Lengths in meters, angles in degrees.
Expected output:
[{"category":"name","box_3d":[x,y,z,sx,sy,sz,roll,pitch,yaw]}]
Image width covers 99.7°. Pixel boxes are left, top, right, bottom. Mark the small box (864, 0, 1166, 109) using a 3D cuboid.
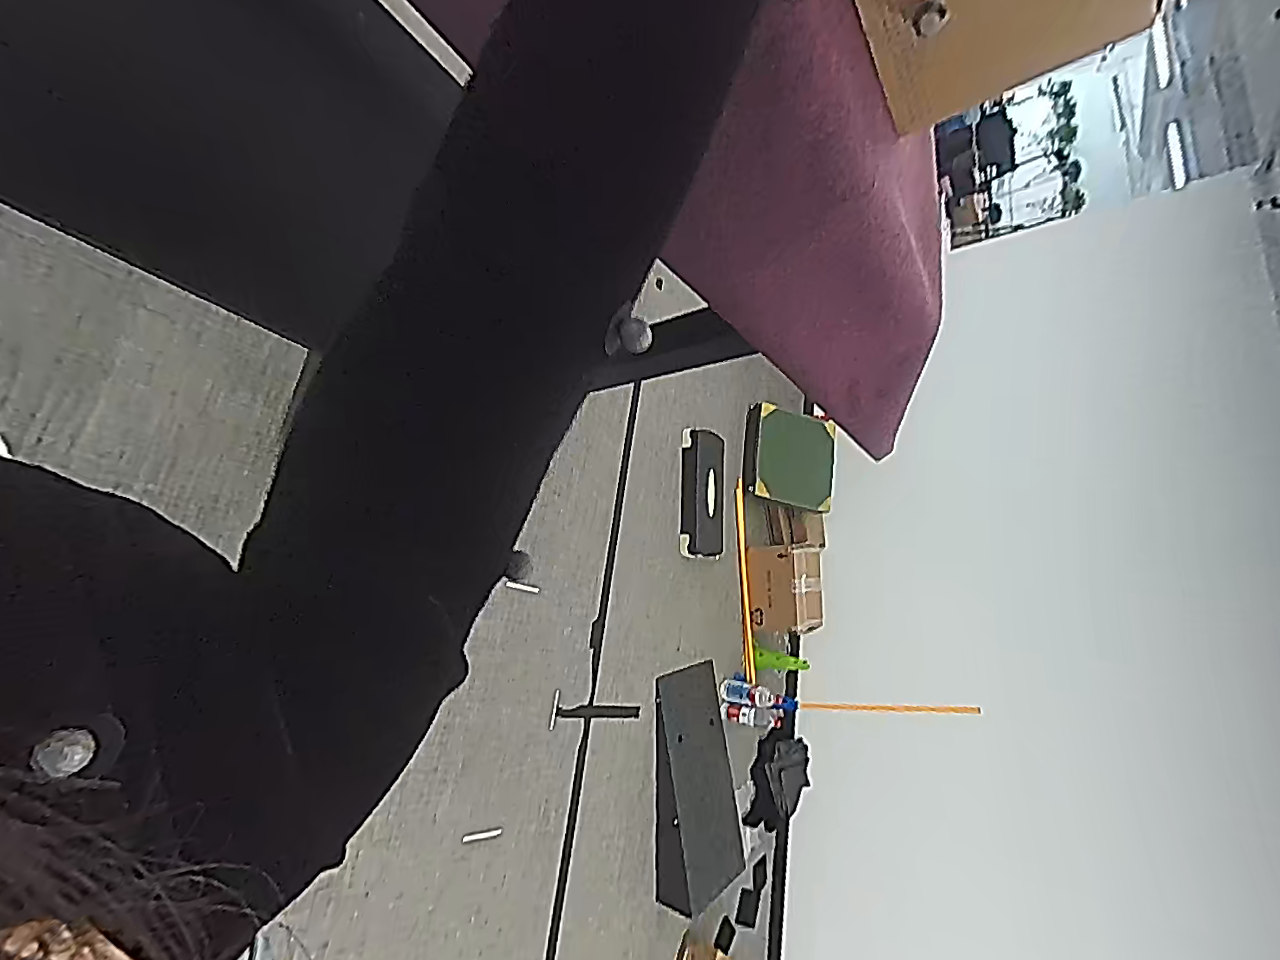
[{"category":"small box","box_3d":[0.252,-0.408,0.381,0.179,0.176,0.168,30,62,-46]}]
